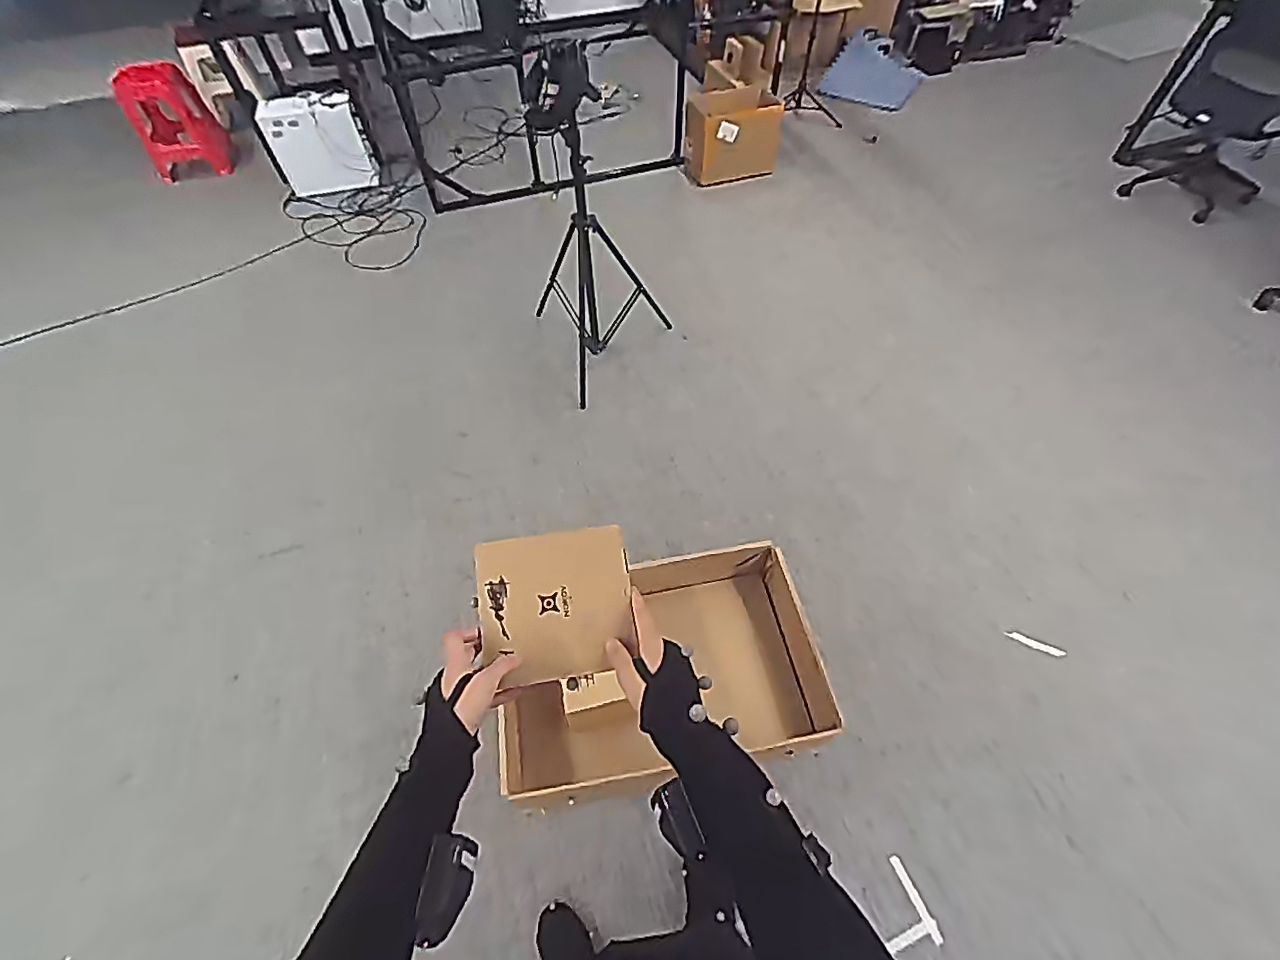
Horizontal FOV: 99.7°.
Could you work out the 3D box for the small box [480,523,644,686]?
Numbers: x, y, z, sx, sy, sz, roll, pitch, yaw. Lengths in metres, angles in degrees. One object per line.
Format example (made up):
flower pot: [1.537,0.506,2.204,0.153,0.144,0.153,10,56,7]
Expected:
small box: [-0.098,0.161,0.692,0.179,0.176,0.168,-7,72,-6]
